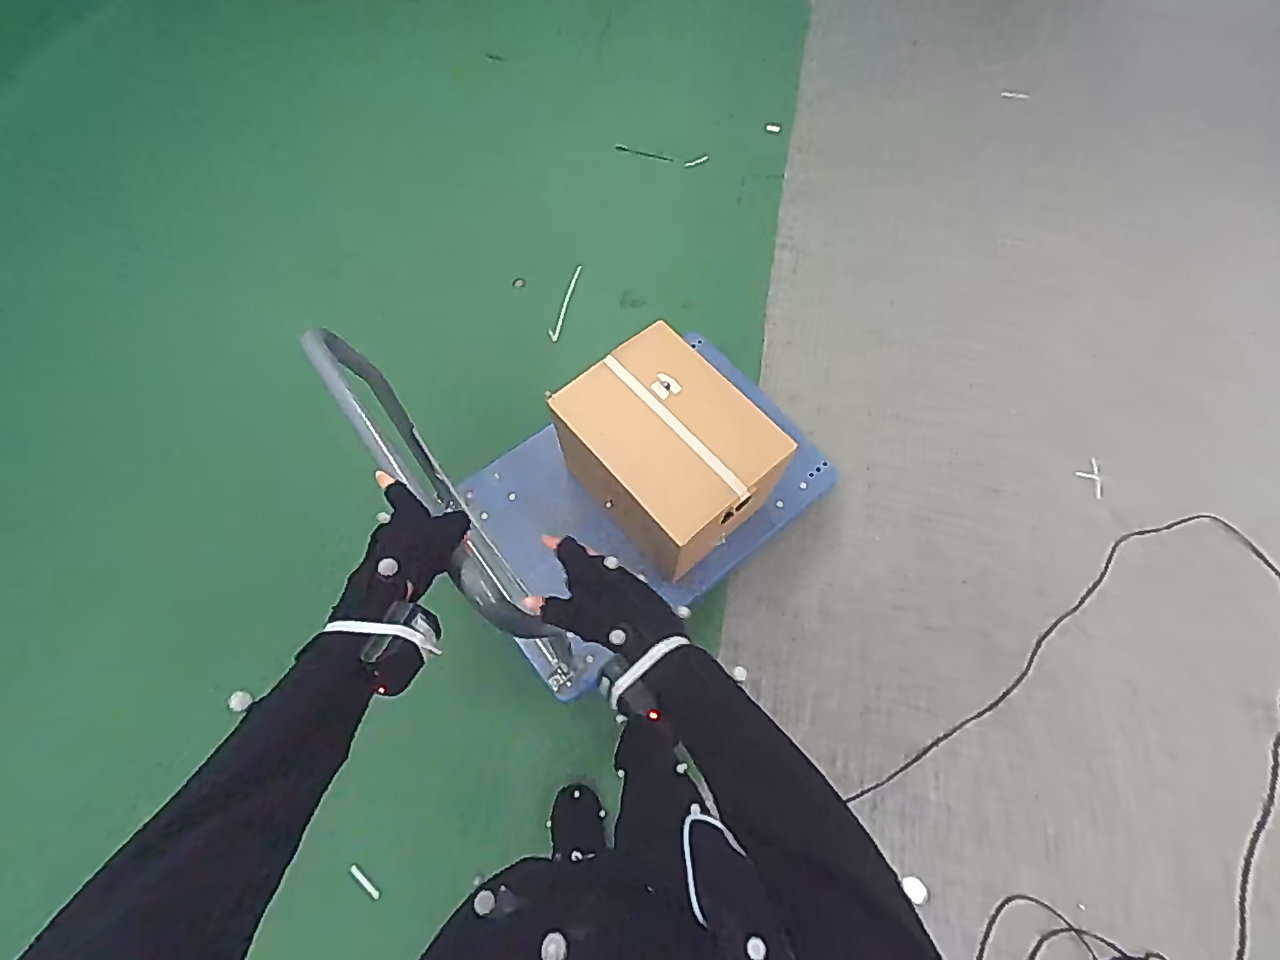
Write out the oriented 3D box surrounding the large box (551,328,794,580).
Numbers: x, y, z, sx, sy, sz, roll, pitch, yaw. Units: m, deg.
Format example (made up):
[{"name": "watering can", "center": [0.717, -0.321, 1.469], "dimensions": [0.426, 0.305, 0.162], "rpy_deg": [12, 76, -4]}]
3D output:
[{"name": "large box", "center": [0.064, -0.047, 1.215], "dimensions": [0.320, 0.320, 0.408], "rpy_deg": [-39, 71, -16]}]
